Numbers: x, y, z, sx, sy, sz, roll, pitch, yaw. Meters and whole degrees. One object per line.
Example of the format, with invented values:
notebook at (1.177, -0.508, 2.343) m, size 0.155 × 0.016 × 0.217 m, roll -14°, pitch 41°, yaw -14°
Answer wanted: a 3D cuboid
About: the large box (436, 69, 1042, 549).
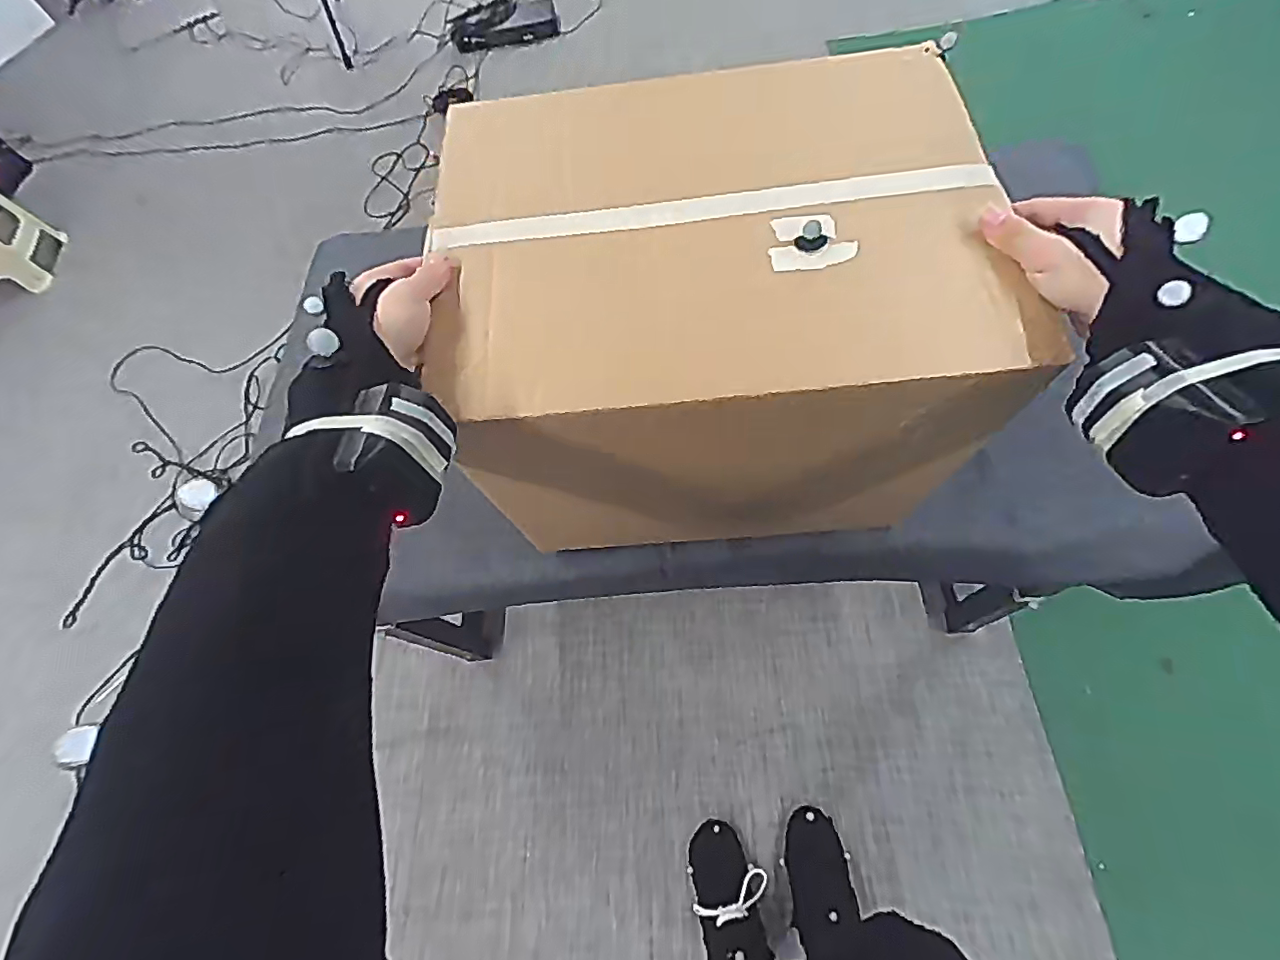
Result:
large box at (0.059, -0.135, 0.544) m, size 0.408 × 0.320 × 0.320 m, roll -5°, pitch 67°, yaw 3°
